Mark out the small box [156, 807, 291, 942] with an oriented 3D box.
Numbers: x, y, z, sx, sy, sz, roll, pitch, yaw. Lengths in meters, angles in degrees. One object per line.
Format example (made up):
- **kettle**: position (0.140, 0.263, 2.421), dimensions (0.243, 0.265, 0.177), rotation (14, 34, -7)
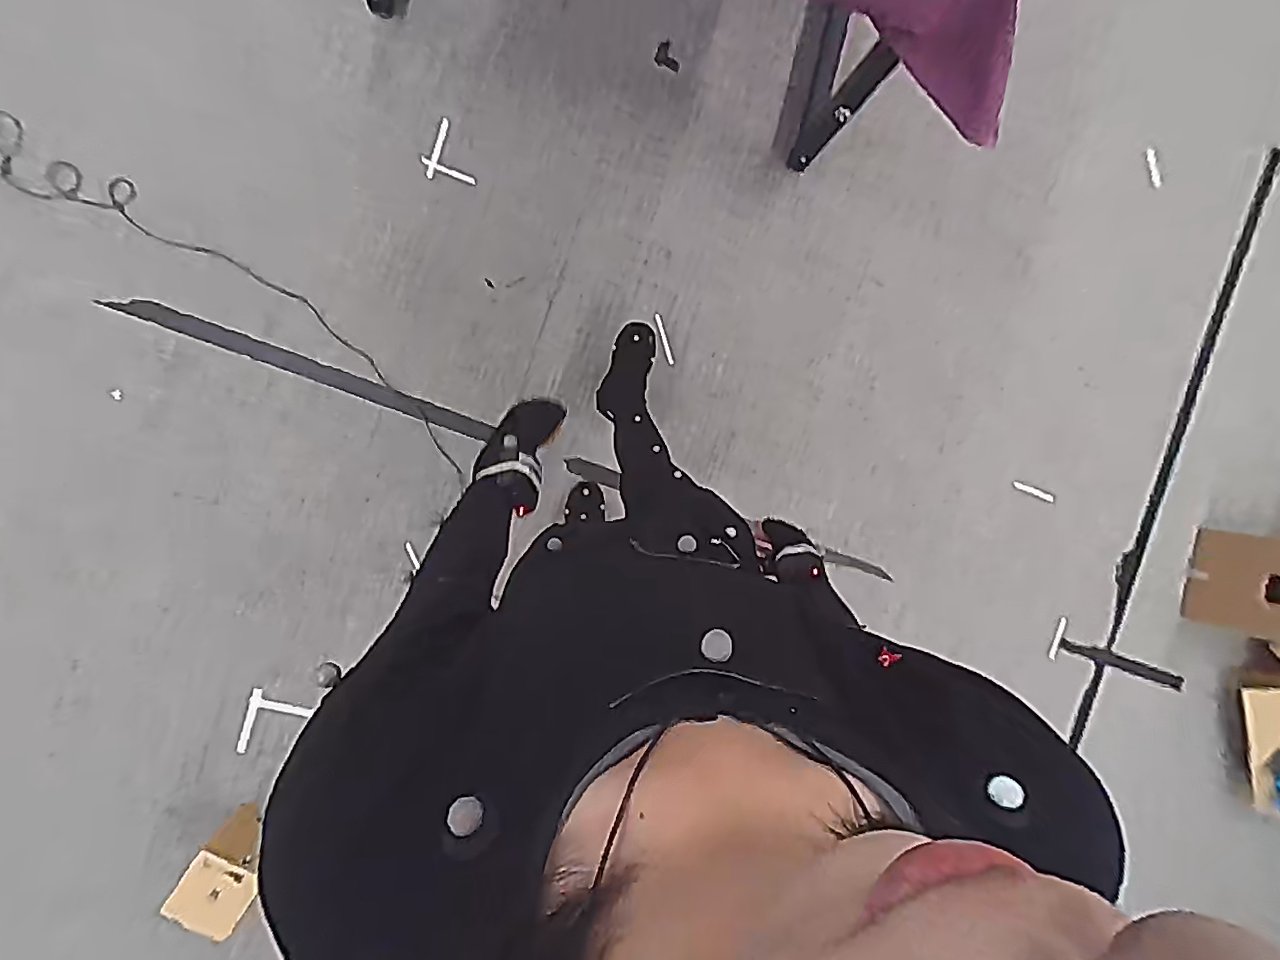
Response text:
- **small box**: position (-1.014, 0.966, 1.338), dimensions (0.168, 0.176, 0.179), rotation (35, 88, -9)
